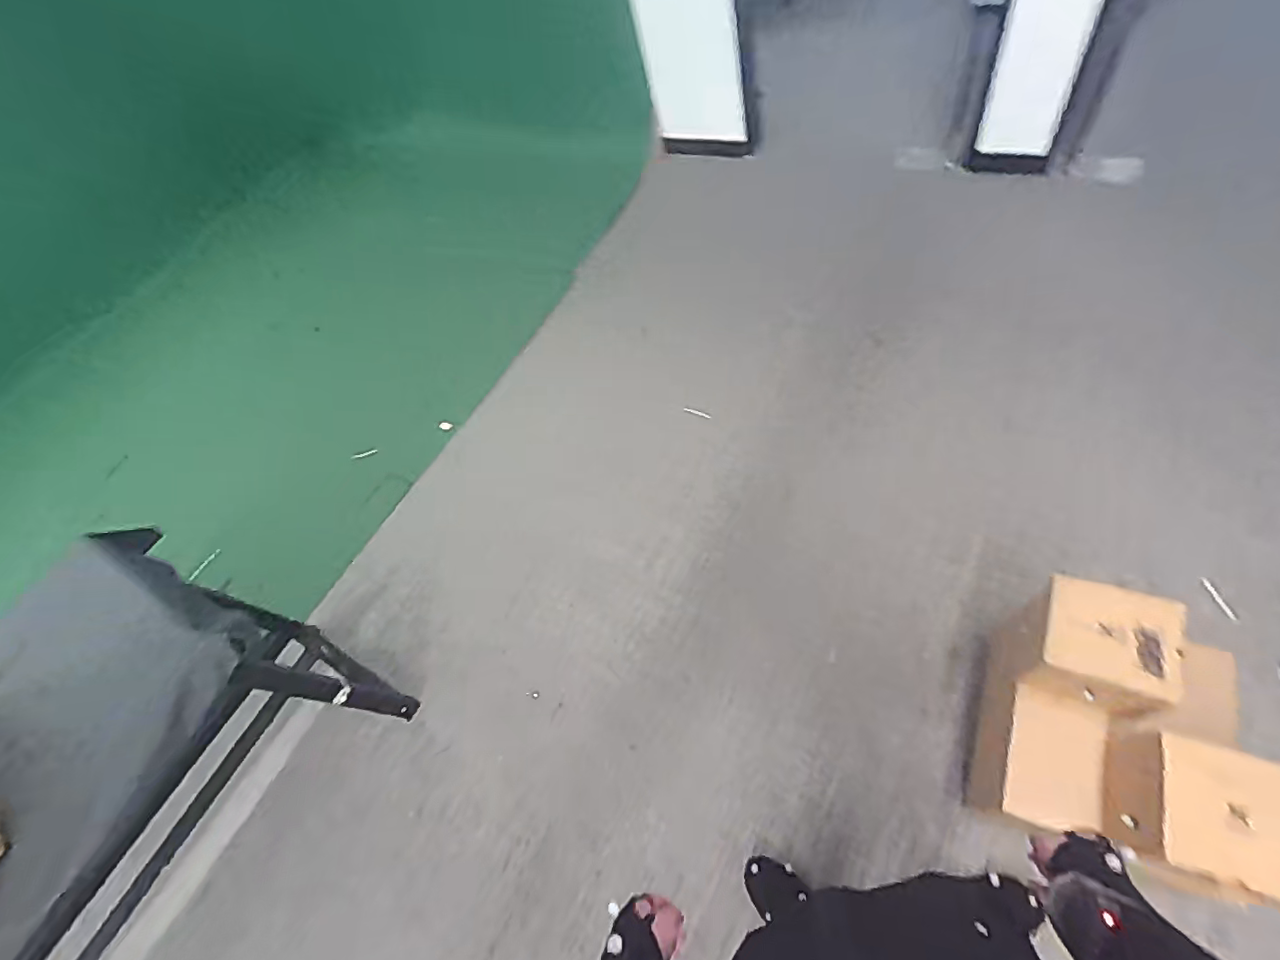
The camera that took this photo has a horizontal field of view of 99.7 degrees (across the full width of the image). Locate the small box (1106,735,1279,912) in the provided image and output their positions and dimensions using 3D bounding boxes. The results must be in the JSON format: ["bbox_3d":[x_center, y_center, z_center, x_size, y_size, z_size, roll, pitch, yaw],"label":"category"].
[{"bbox_3d":[0.836,0.508,0.806,0.168,0.176,0.179,13,63,21],"label":"small box"}]

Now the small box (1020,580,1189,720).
[{"bbox_3d":[0.799,0.301,0.944,0.179,0.176,0.168,14,65,28],"label":"small box"}]
